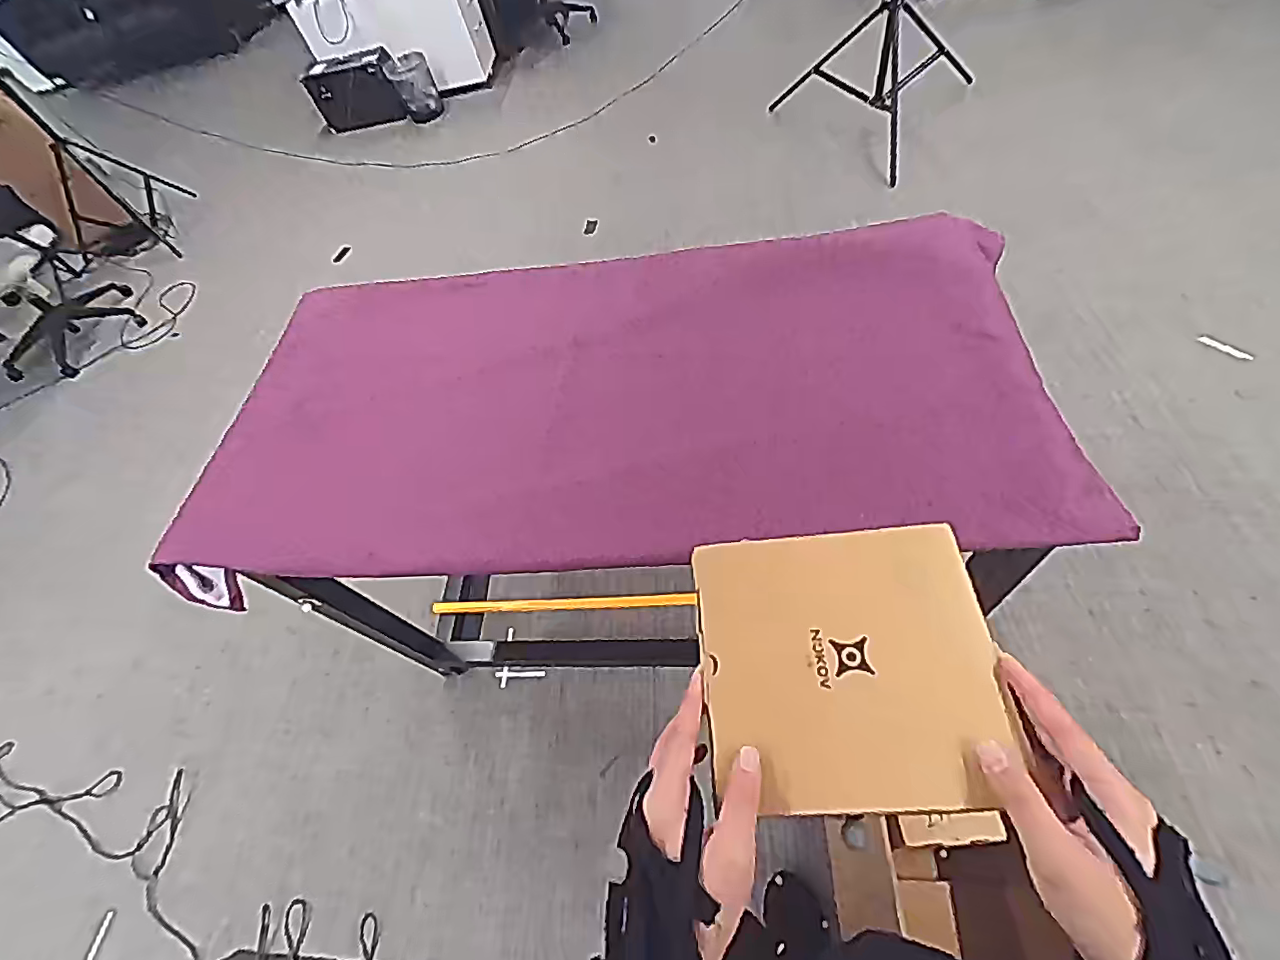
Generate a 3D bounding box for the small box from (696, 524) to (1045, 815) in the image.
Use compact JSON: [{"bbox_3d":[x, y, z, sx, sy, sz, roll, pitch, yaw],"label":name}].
[{"bbox_3d":[0.139,0.147,0.400,0.179,0.176,0.168,-7,58,7],"label":"small box"}]
